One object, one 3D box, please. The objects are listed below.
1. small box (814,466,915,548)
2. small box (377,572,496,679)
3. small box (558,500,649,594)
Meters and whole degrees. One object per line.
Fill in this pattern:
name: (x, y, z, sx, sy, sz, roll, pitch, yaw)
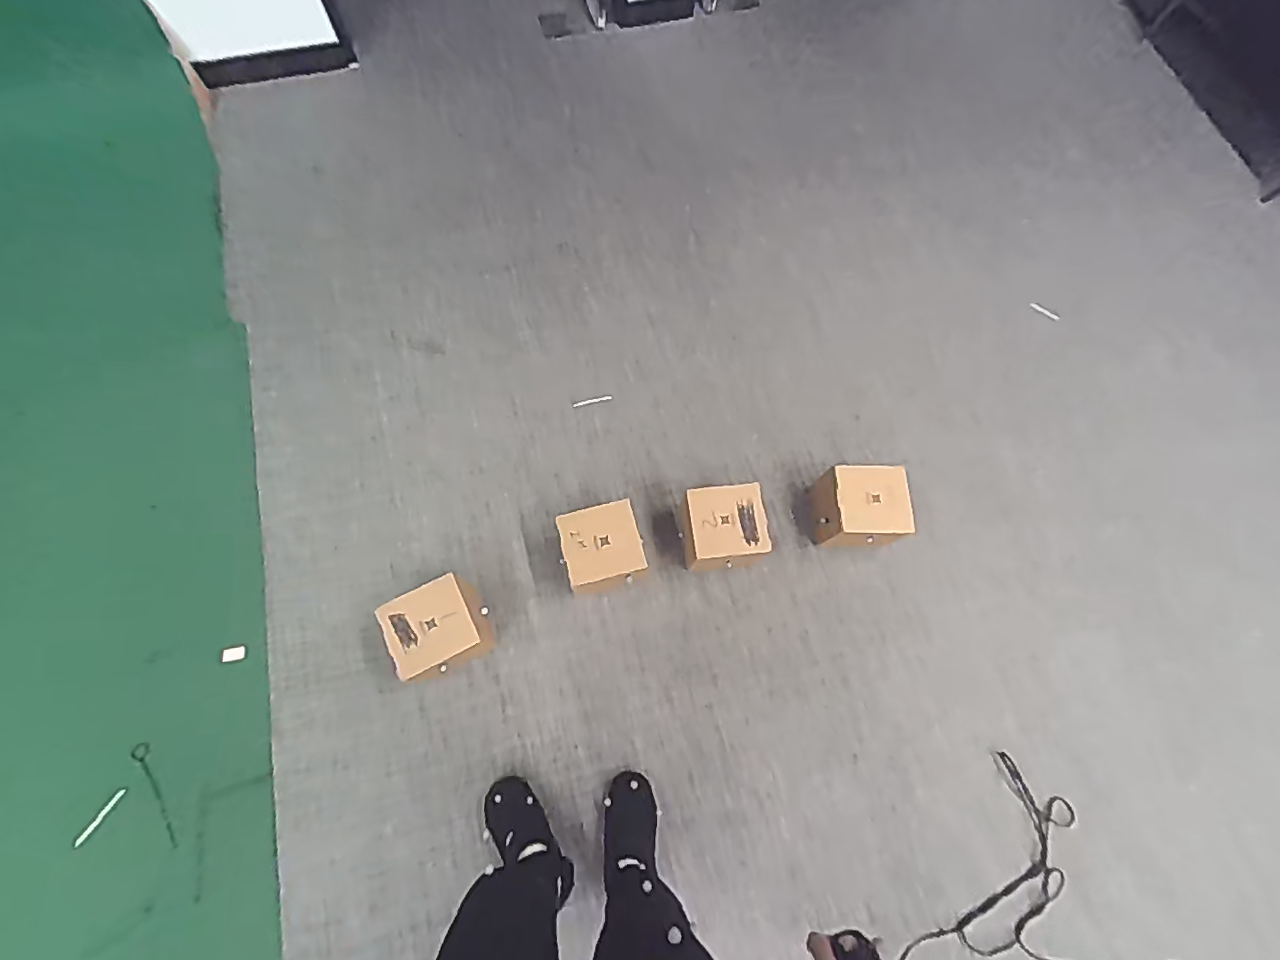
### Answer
small box: (0.543, 0.072, 1.338, 0.179, 0.176, 0.168, 2, 72, -3)
small box: (-0.443, 0.327, 1.203, 0.179, 0.176, 0.168, -25, 75, -11)
small box: (-0.088, 0.163, 1.275, 0.179, 0.176, 0.168, -13, 72, -7)
